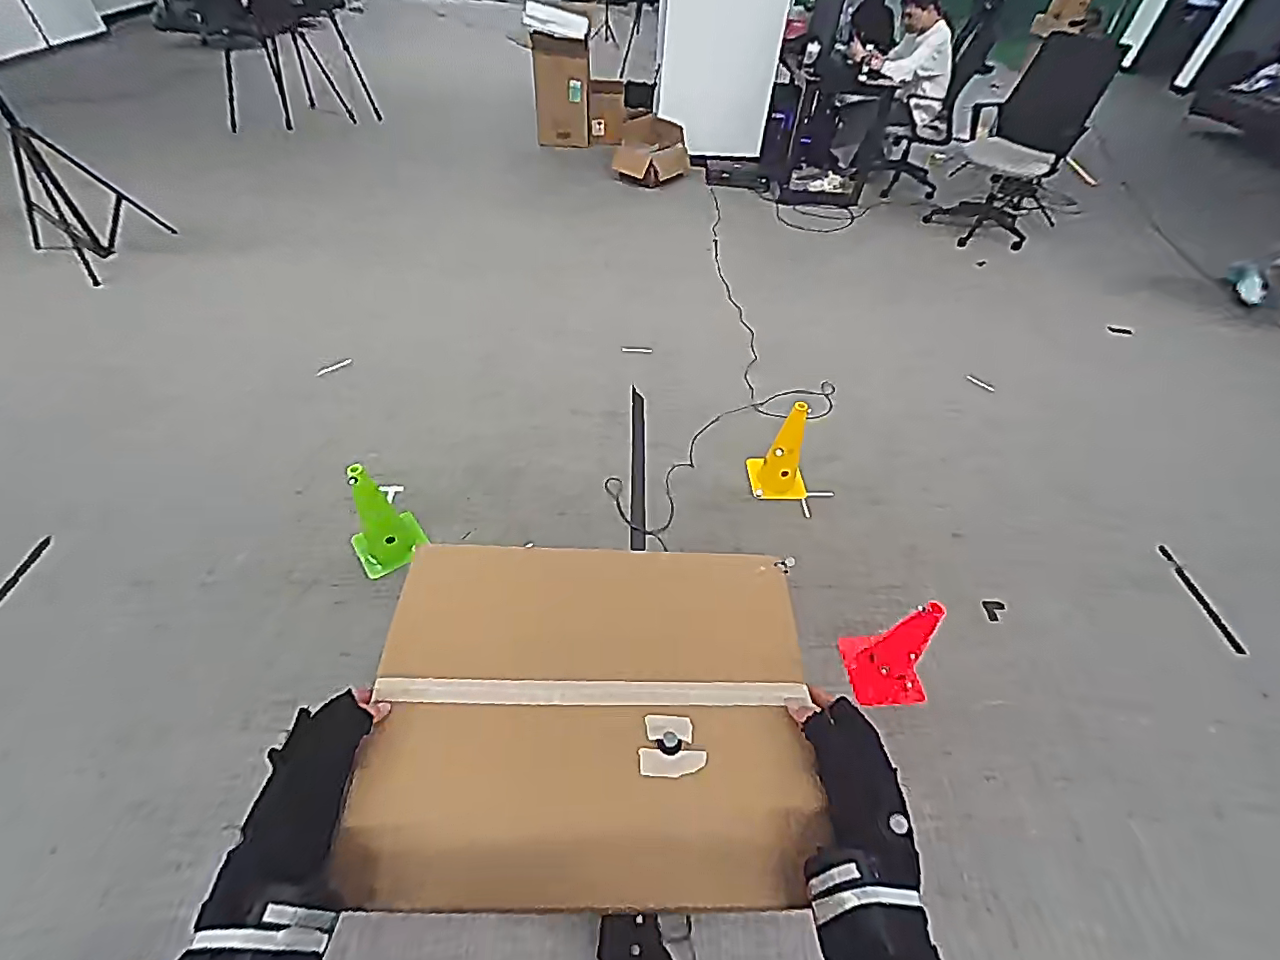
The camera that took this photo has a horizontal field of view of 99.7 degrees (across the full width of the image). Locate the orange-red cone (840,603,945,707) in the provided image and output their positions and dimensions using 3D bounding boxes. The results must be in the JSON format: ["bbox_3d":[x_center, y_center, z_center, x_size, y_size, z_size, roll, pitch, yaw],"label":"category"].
[{"bbox_3d":[0.695,0.426,1.413,0.198,0.360,0.199,0,46,-5],"label":"orange-red cone"}]

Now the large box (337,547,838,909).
[{"bbox_3d":[-0.050,0.294,0.630,0.408,0.320,0.320,3,51,-4],"label":"large box"}]

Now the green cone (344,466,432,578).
[{"bbox_3d":[-0.792,0.089,1.612,0.202,0.368,0.200,-30,55,-25],"label":"green cone"}]
